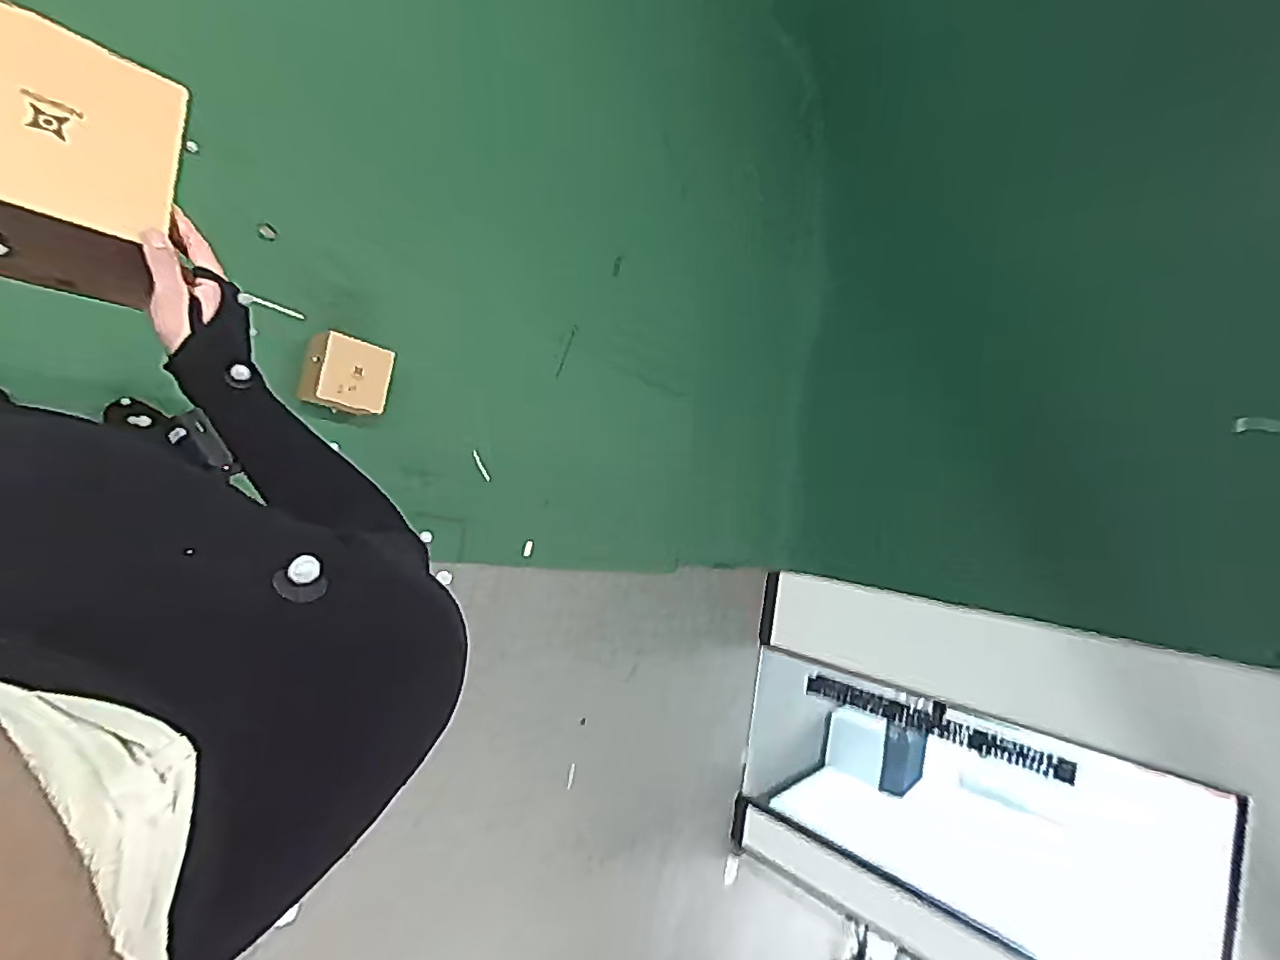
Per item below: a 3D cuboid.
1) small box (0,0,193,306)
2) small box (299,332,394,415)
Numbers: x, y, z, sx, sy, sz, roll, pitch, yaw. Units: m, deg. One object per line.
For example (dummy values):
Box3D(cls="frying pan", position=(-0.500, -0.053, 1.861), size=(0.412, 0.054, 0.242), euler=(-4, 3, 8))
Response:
Box3D(cls="small box", position=(-0.539, -0.288, 0.502), size=(0.168, 0.176, 0.179), euler=(7, 76, -46))
Box3D(cls="small box", position=(-0.795, -0.280, 1.460), size=(0.168, 0.176, 0.179), euler=(15, 84, -47))
